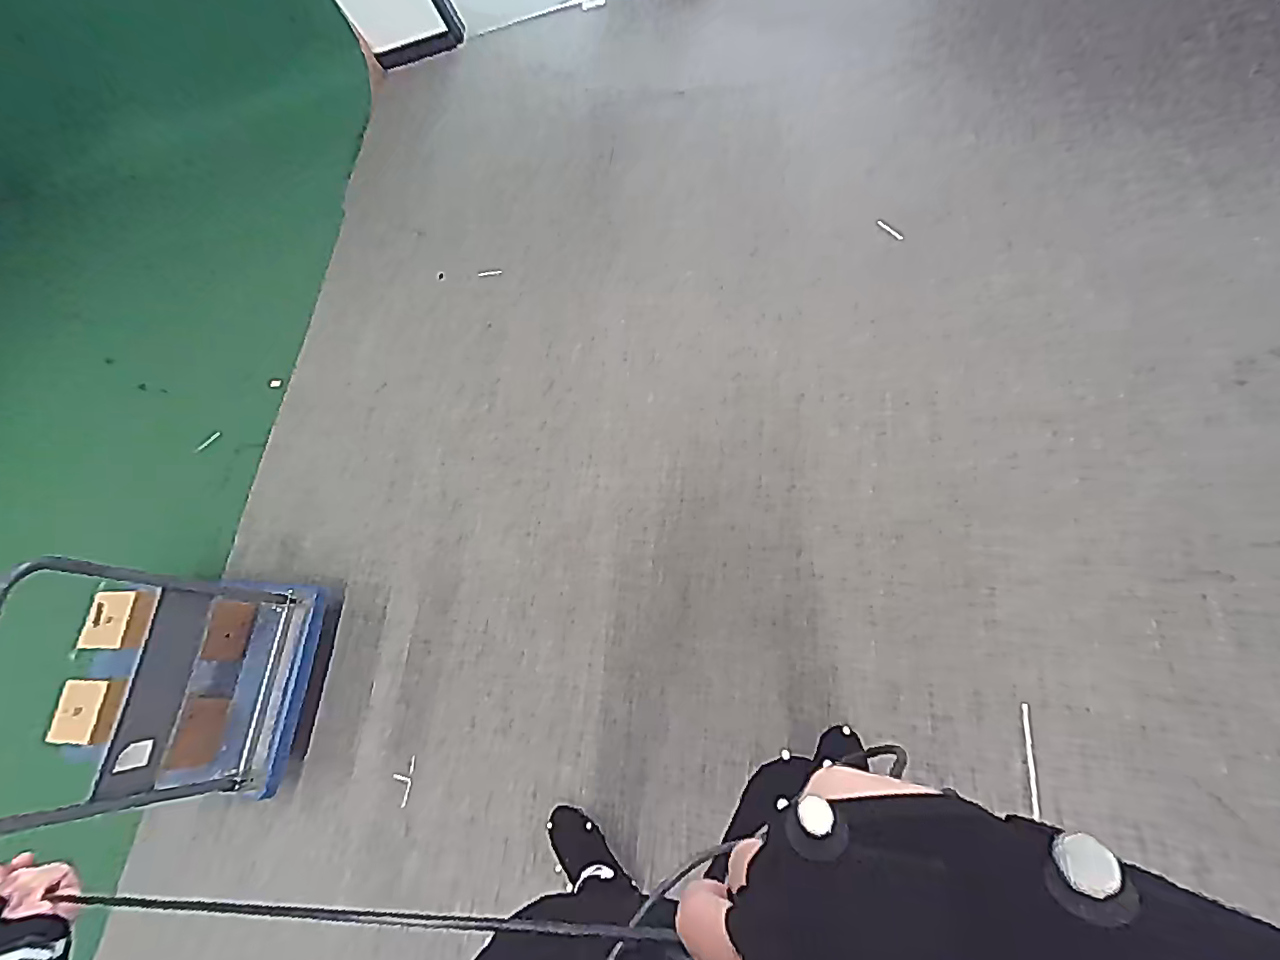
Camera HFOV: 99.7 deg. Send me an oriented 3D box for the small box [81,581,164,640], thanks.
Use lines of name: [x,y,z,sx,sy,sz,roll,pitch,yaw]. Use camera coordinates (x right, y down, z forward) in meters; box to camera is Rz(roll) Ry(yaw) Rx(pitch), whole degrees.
small box: [-1.553,0.410,1.679,0.179,0.176,0.168,-3,71,15]

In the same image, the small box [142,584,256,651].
small box: [-1.296,0.410,1.598,0.179,0.176,0.168,1,72,17]

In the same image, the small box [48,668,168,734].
small box: [-1.560,0.647,1.597,0.179,0.176,0.168,-4,69,16]
